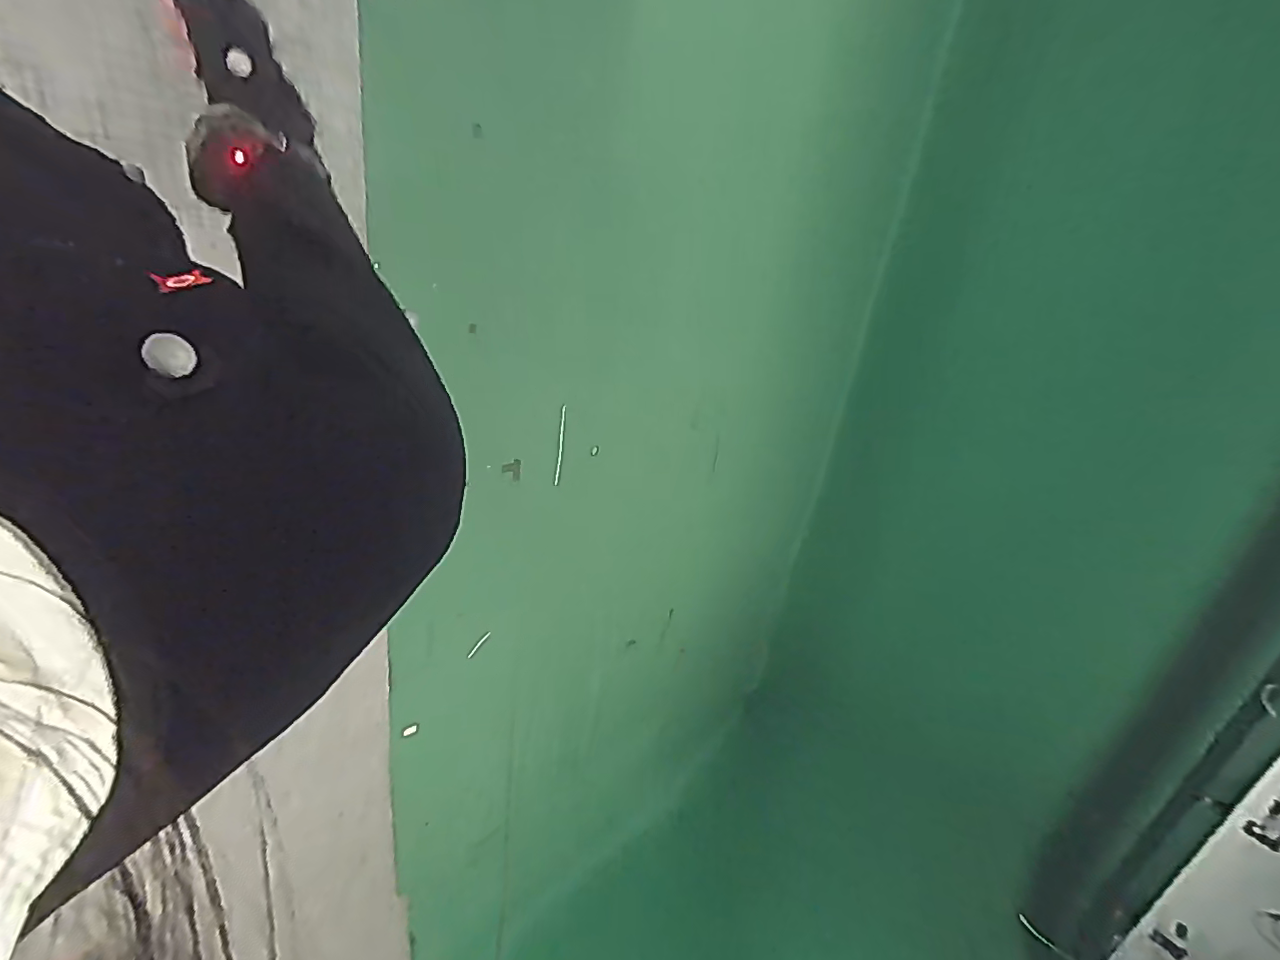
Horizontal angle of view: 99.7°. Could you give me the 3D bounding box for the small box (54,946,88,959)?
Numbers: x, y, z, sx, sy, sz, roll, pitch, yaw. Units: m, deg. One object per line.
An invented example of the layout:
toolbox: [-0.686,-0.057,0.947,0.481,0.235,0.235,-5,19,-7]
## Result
small box: [-1.498,1.350,1.358,0.179,0.176,0.168,-17,125,-46]
